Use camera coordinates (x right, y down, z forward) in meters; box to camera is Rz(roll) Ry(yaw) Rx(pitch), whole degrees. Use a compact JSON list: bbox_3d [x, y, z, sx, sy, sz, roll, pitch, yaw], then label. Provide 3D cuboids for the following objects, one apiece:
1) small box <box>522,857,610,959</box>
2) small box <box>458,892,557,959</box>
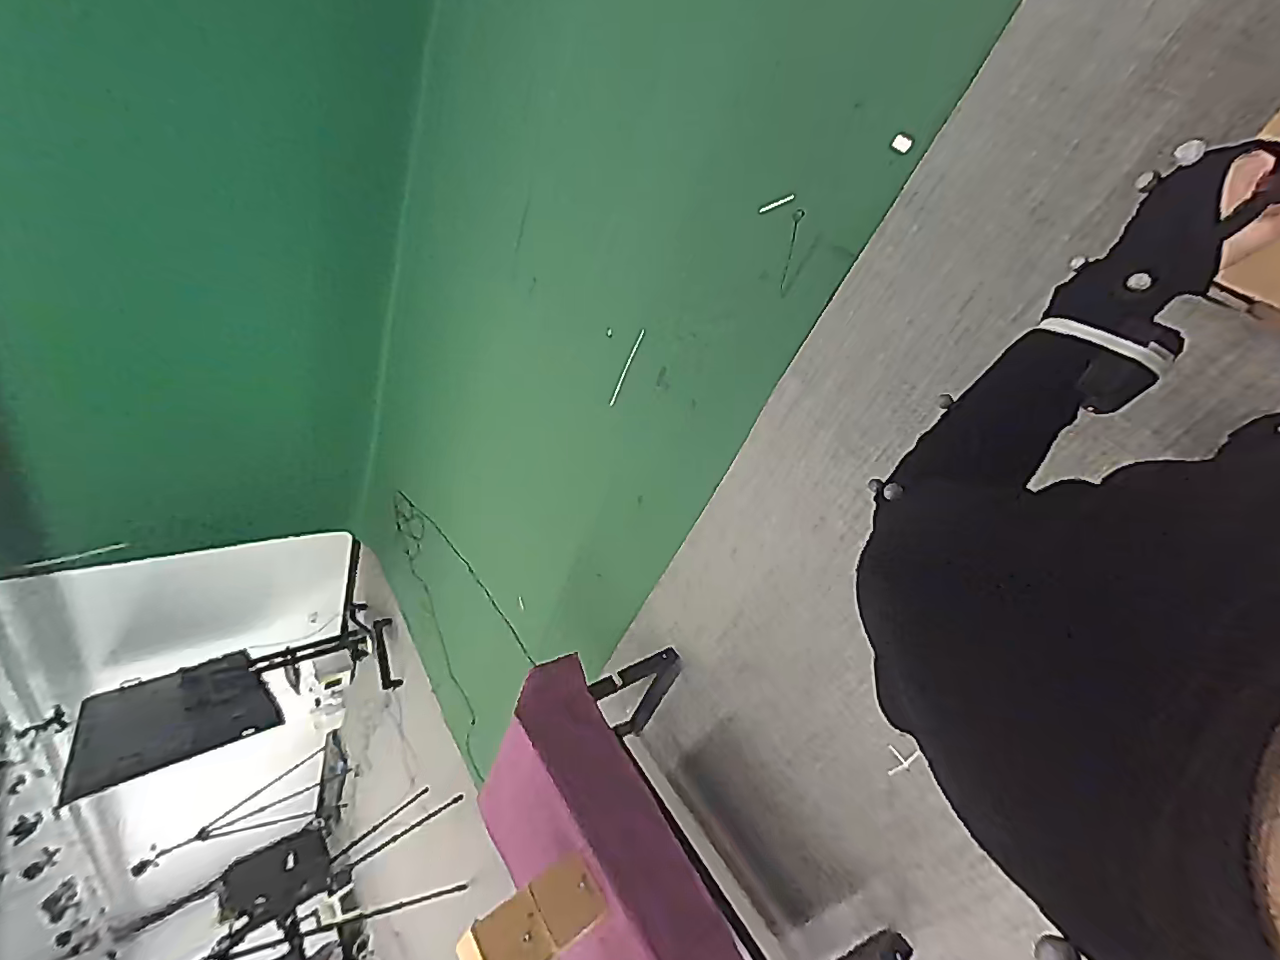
[{"bbox_3d":[-0.212,1.173,1.472,0.179,0.176,0.168,48,129,31],"label":"small box"},{"bbox_3d":[-0.334,1.200,1.366,0.168,0.176,0.179,48,127,30],"label":"small box"}]
